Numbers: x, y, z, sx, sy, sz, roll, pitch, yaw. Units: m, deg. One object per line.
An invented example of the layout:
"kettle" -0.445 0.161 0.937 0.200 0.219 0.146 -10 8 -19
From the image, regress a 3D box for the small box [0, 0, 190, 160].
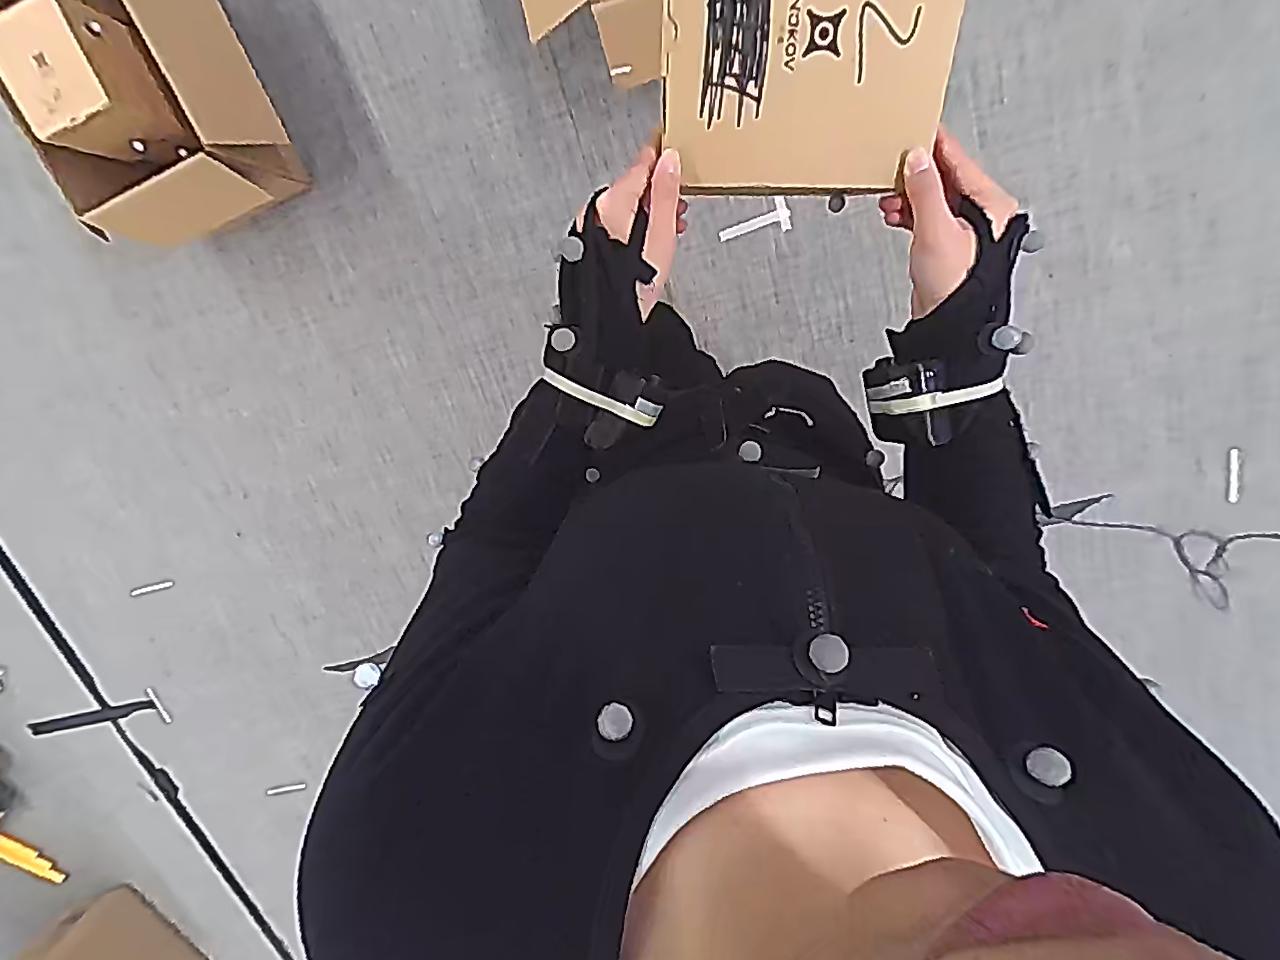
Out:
"small box" -0.993 -0.721 0.985 0.168 0.176 0.179 -17 106 10
